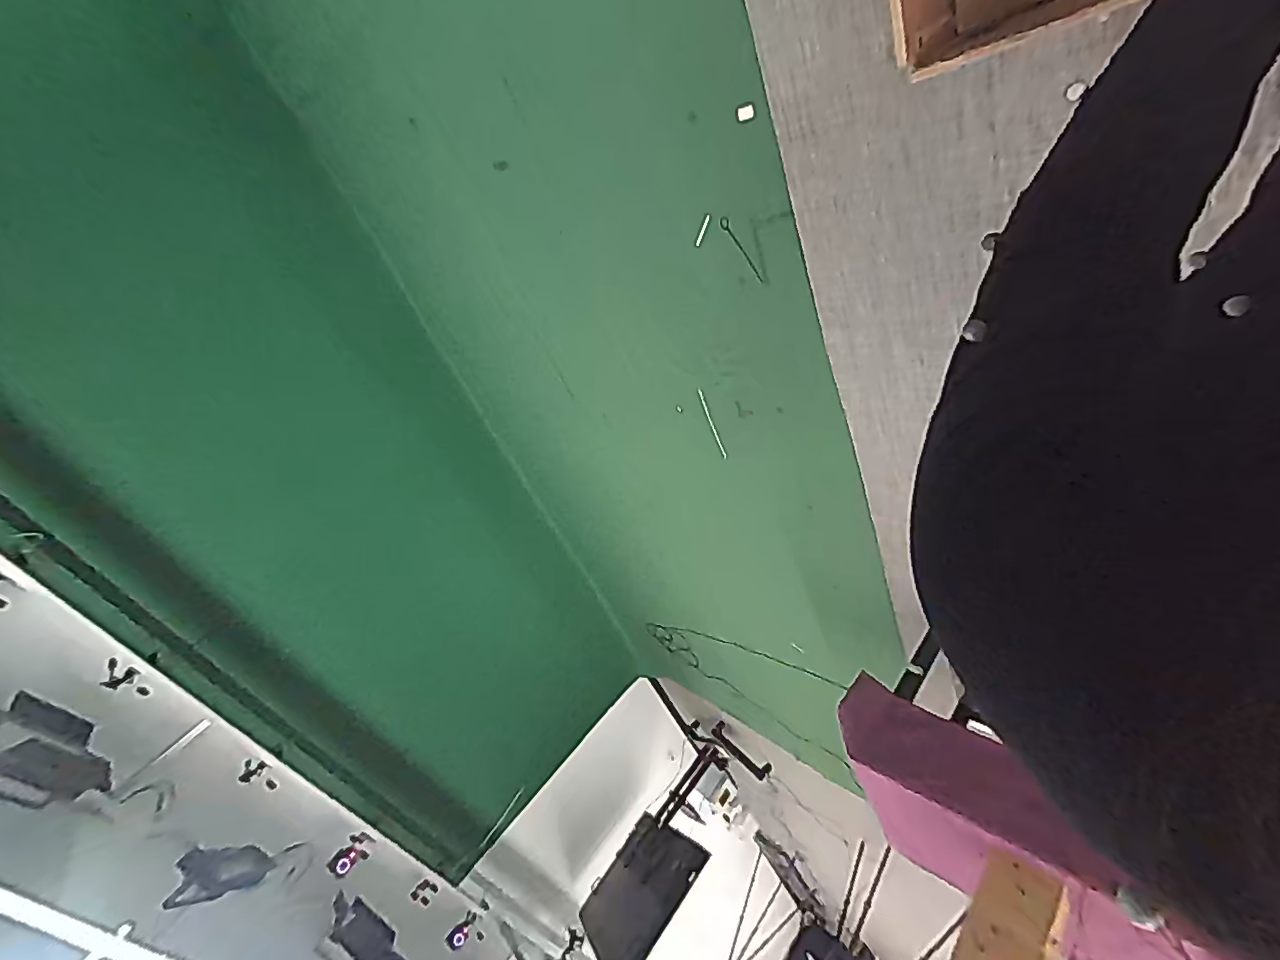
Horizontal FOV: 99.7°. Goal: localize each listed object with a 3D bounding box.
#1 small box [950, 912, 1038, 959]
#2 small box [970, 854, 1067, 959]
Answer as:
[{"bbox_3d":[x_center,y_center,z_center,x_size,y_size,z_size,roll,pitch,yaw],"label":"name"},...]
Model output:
[{"bbox_3d":[0.892,1.243,1.355,0.168,0.176,0.179,14,138,49],"label":"small box"},{"bbox_3d":[0.999,1.141,1.425,0.168,0.176,0.179,12,137,51],"label":"small box"}]
